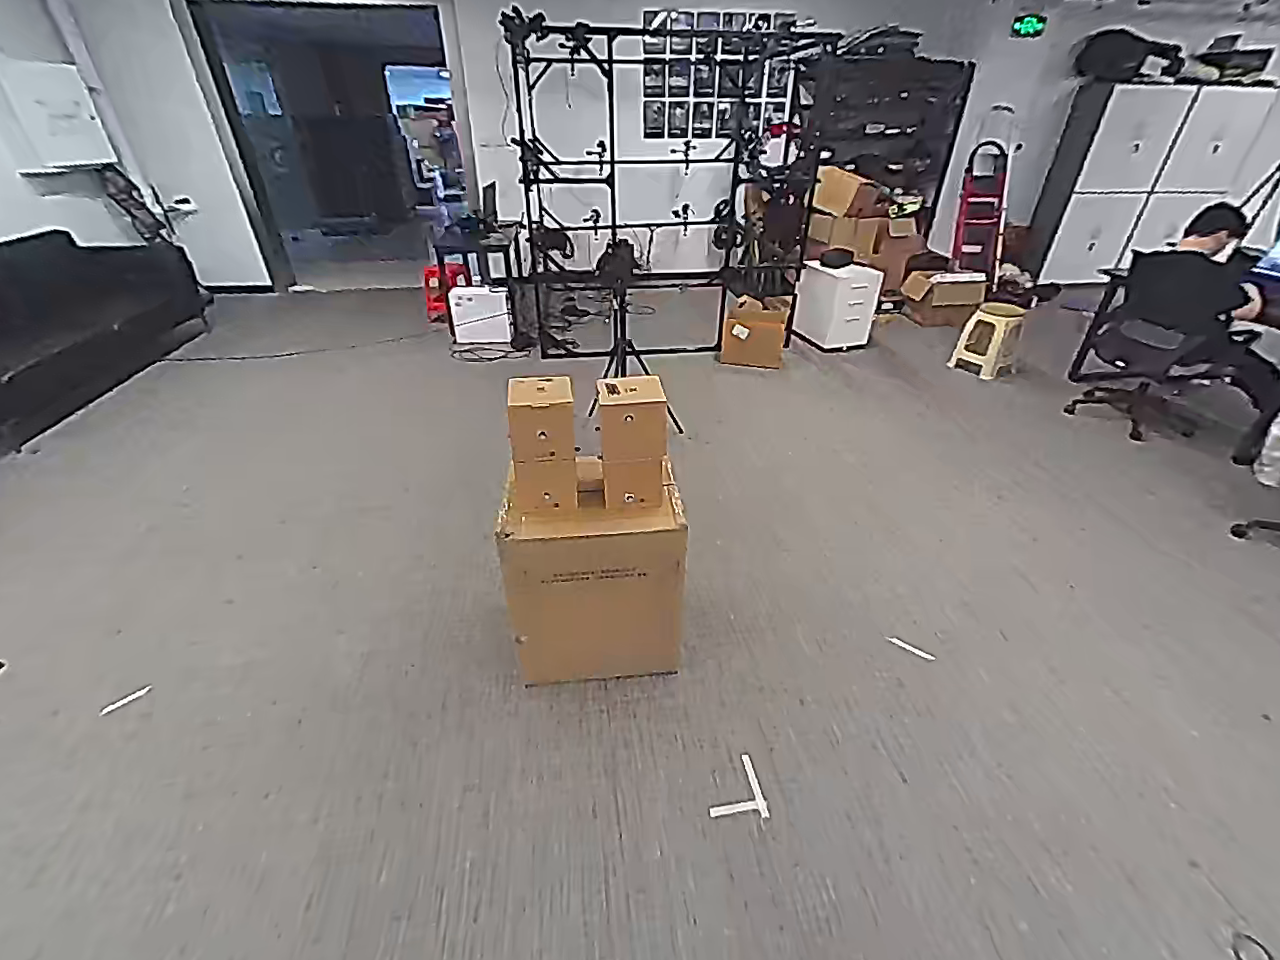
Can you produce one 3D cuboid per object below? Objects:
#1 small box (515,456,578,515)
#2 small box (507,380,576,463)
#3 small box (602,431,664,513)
[{"bbox_3d":[-0.267,-0.018,1.567,0.168,0.176,0.179,-4,34,-7],"label":"small box"},{"bbox_3d":[-0.266,-0.157,1.479,0.168,0.176,0.179,-5,34,-8],"label":"small box"},{"bbox_3d":[-0.023,-0.025,1.580,0.168,0.176,0.179,-6,35,-4],"label":"small box"}]
